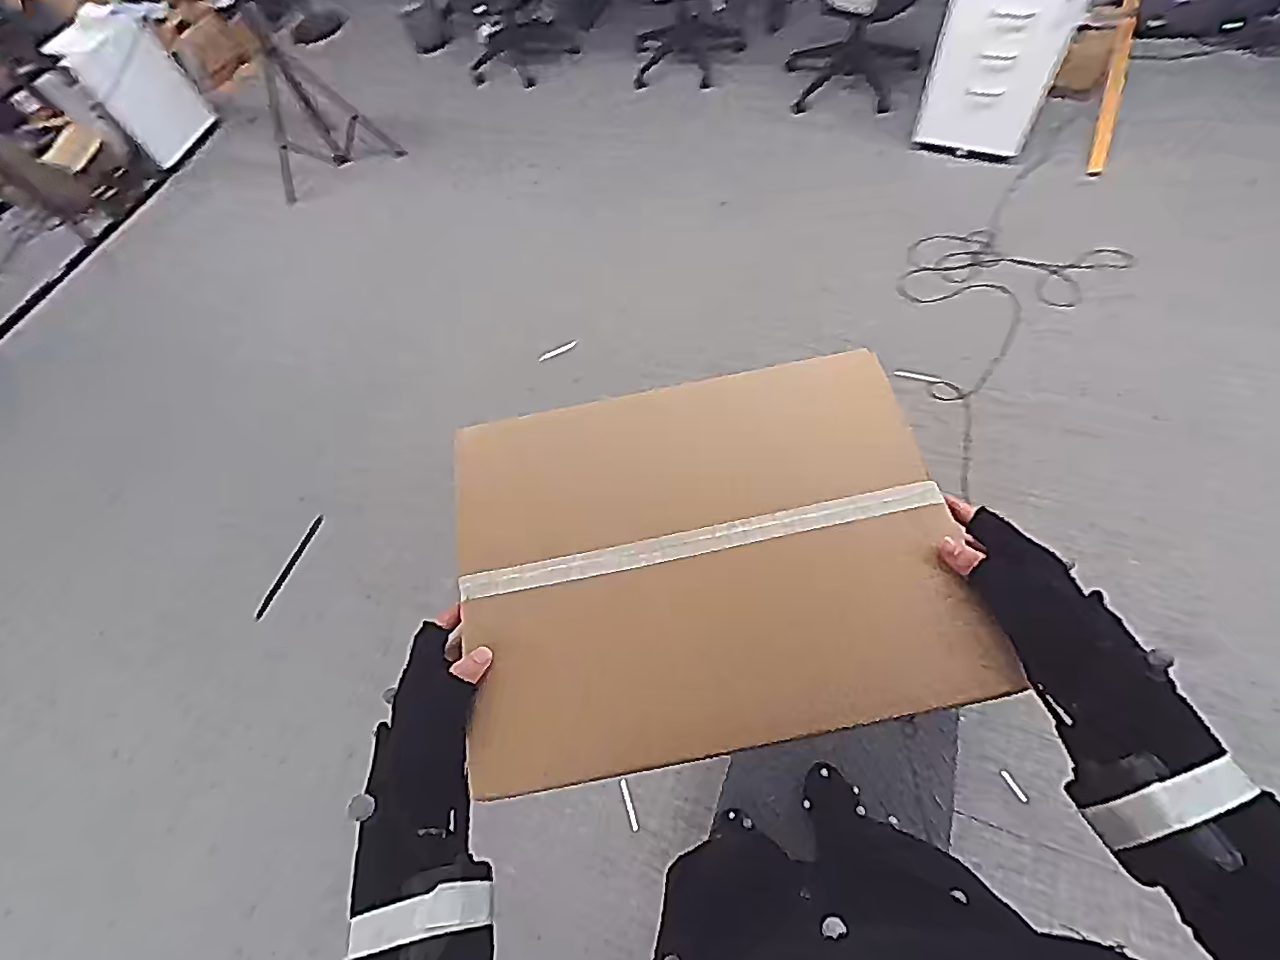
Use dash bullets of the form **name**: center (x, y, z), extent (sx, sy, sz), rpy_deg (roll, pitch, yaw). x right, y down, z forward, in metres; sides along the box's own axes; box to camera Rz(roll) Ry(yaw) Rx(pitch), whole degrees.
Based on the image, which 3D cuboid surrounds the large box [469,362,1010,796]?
- **large box**: center (0.067, 0.118, 0.592), extent (0.408, 0.320, 0.320), rpy_deg (-10, 64, 0)
